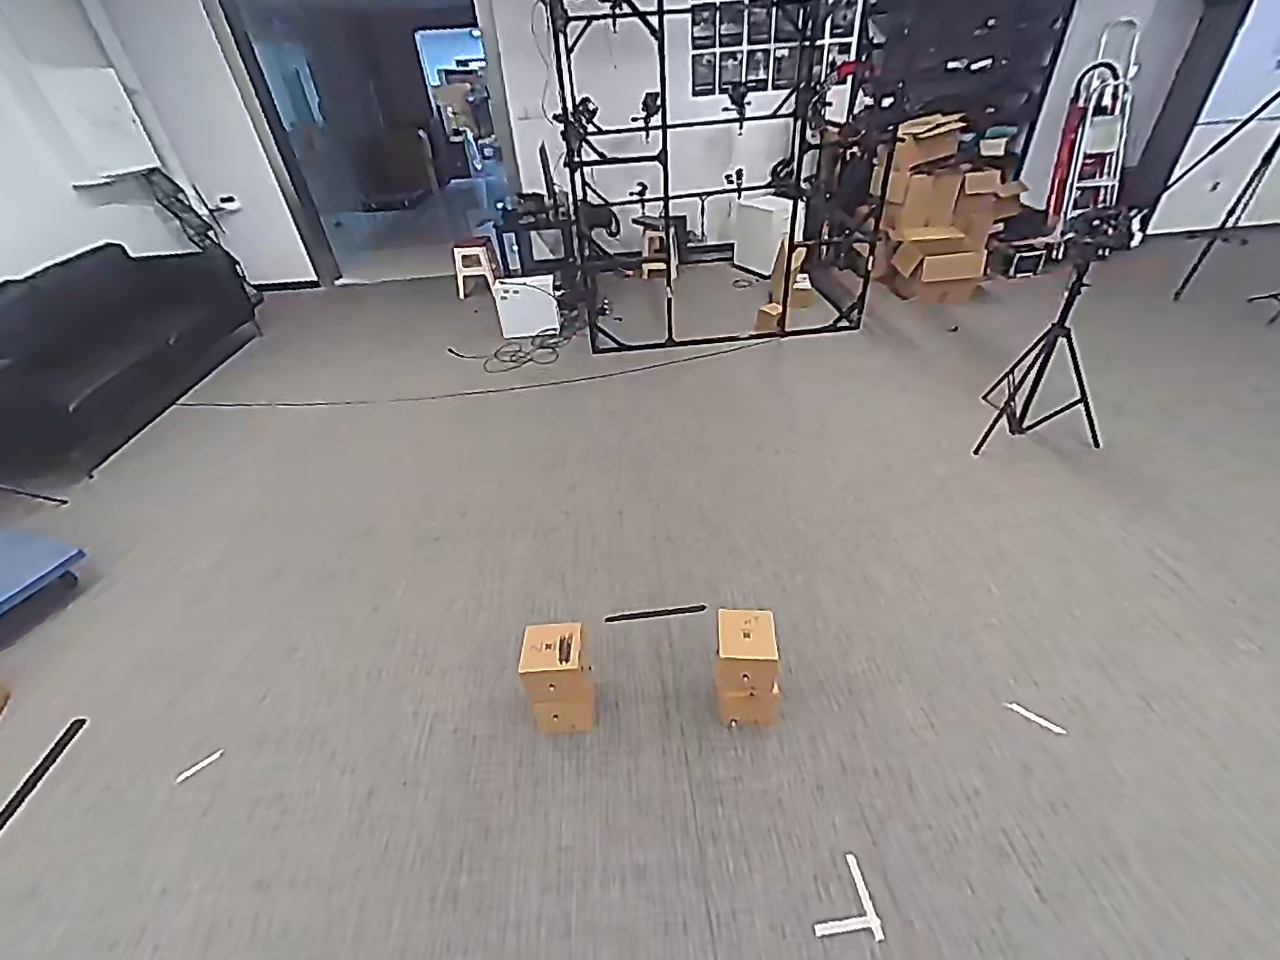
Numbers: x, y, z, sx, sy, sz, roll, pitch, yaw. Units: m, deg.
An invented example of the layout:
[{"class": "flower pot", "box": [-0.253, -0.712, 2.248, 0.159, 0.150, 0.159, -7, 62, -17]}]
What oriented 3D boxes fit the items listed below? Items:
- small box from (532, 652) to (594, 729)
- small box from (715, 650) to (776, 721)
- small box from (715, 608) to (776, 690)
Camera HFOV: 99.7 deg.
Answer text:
[{"class": "small box", "box": [-0.242, 0.682, 1.737, 0.168, 0.176, 0.179, -5, 37, 0]}, {"class": "small box", "box": [0.331, 0.647, 1.717, 0.168, 0.176, 0.179, -3, 37, 1]}, {"class": "small box", "box": [0.313, 0.509, 1.627, 0.168, 0.176, 0.179, 1, 37, 6]}]
